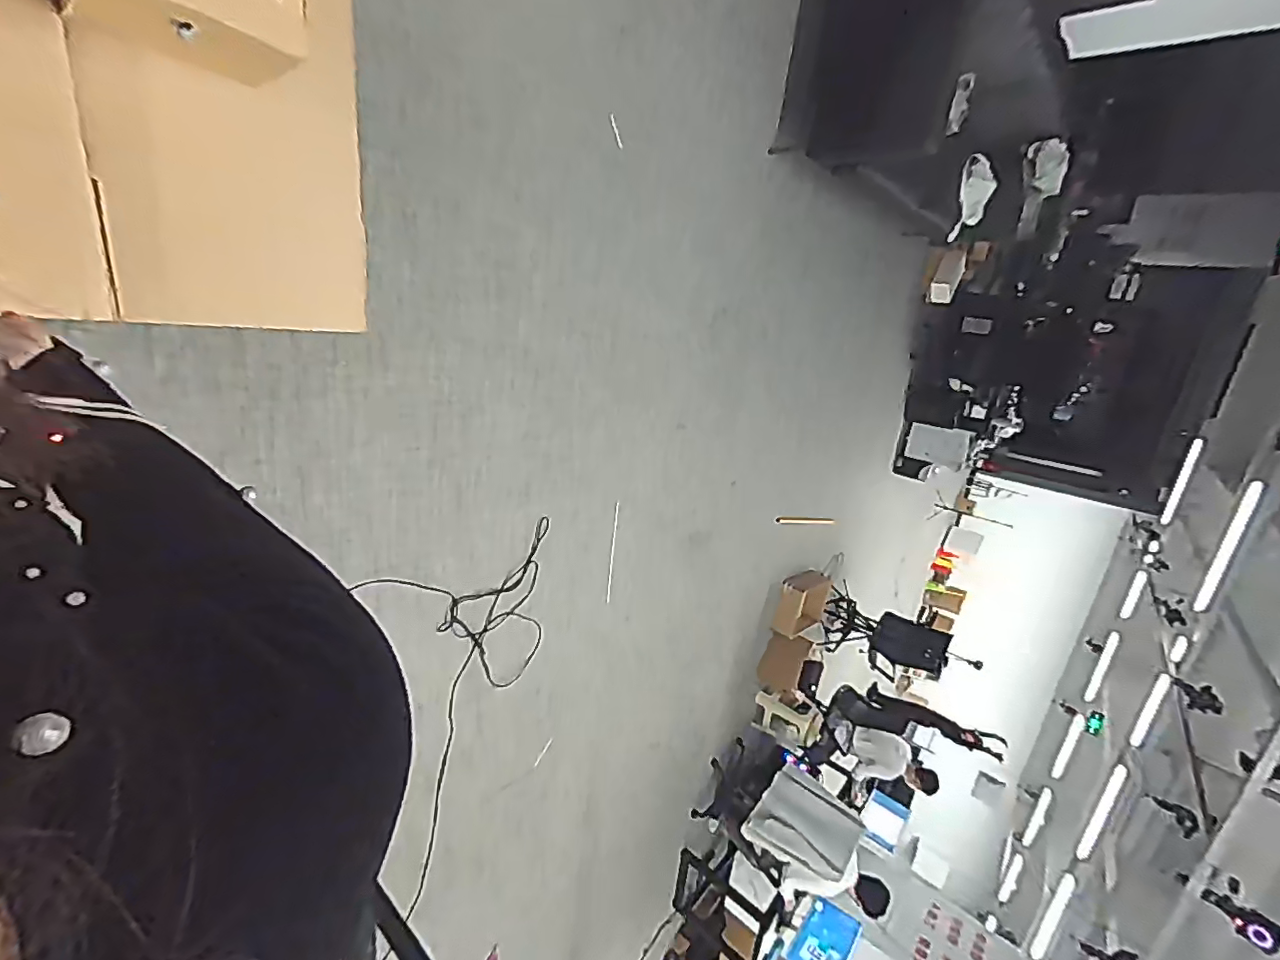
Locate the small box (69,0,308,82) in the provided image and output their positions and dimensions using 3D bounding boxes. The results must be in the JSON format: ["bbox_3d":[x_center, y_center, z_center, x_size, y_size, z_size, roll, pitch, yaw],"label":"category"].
[{"bbox_3d":[-0.464,-0.541,0.551,0.179,0.176,0.168,-9,113,-48],"label":"small box"}]
